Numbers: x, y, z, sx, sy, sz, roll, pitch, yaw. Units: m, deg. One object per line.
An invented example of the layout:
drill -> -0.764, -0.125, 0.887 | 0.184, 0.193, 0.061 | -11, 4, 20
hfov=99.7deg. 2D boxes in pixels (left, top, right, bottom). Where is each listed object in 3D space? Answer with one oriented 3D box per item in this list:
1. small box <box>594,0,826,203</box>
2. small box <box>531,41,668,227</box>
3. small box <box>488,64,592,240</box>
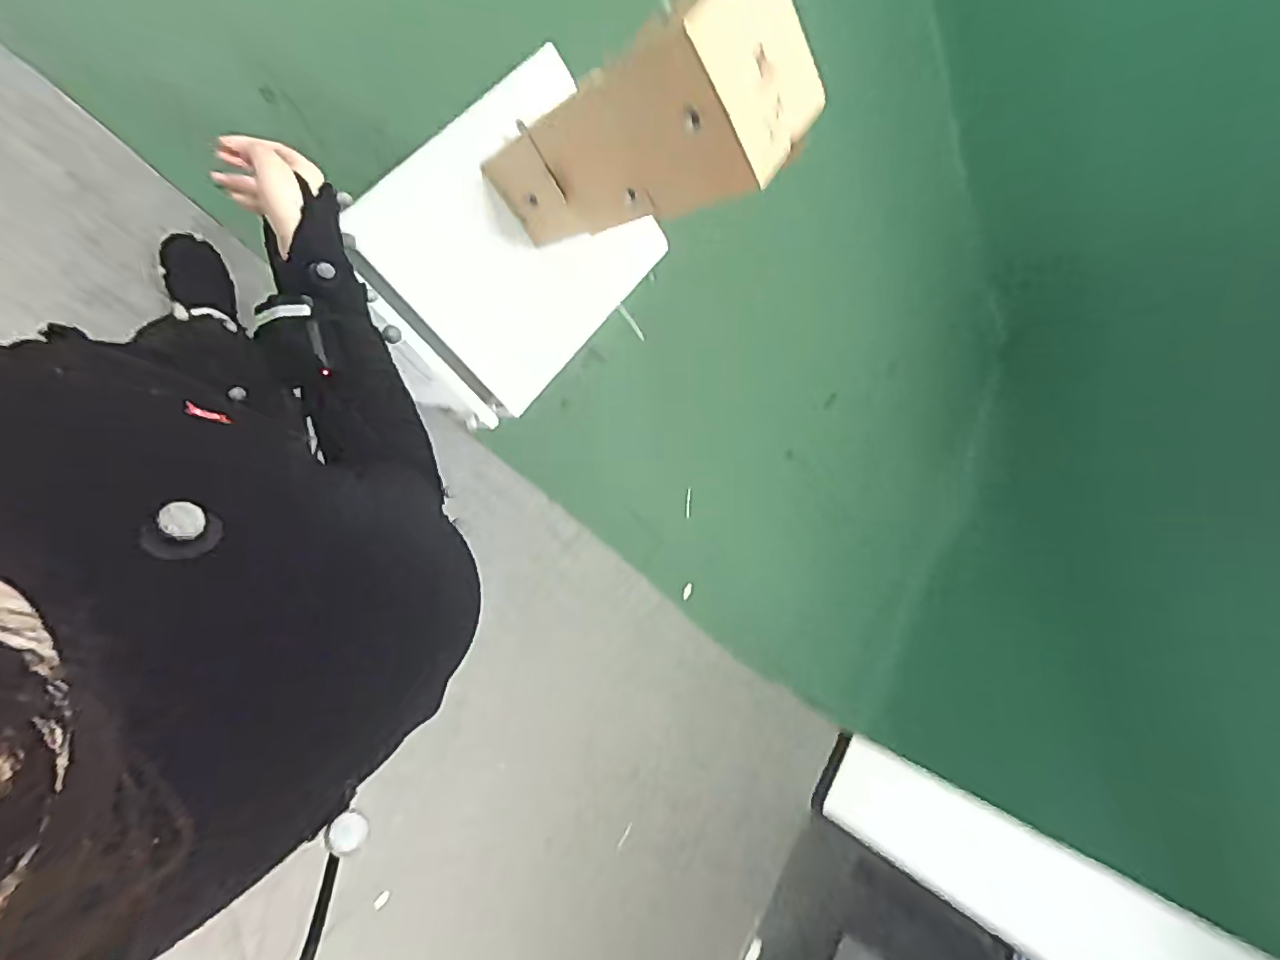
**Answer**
small box -> 0.079, -0.460, 0.630 | 0.179, 0.176, 0.168 | 46, 71, -37
small box -> -0.020, -0.489, 0.759 | 0.168, 0.176, 0.179 | -51, 127, -20
small box -> -0.123, -0.520, 0.881 | 0.179, 0.176, 0.168 | -52, 128, -18
